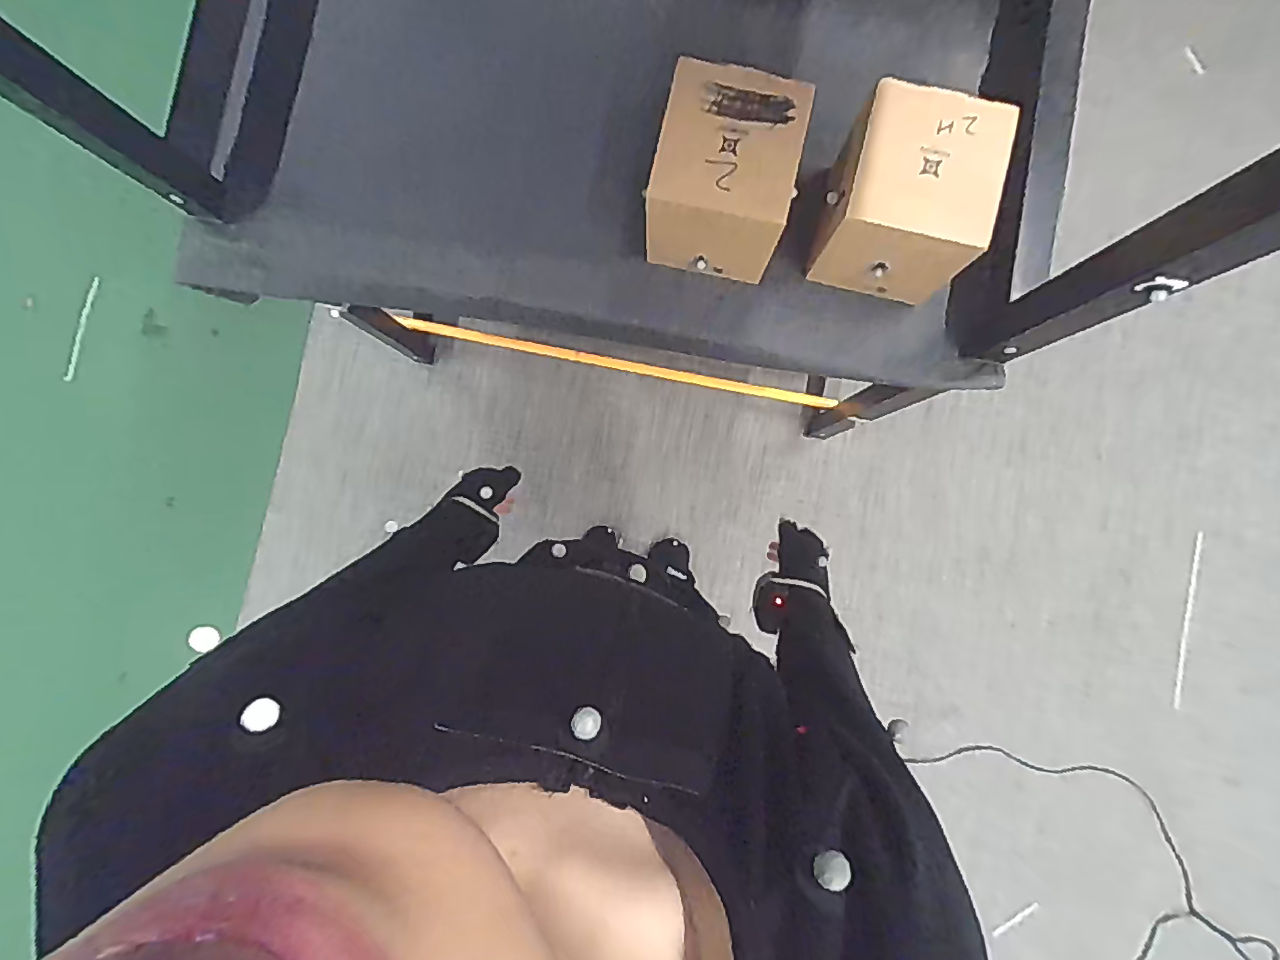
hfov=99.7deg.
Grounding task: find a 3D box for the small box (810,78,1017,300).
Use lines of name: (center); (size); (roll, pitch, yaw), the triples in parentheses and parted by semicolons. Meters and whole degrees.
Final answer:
small box: (0.333, -0.356, 0.696); (0.168, 0.176, 0.179); (15, 87, 2)
